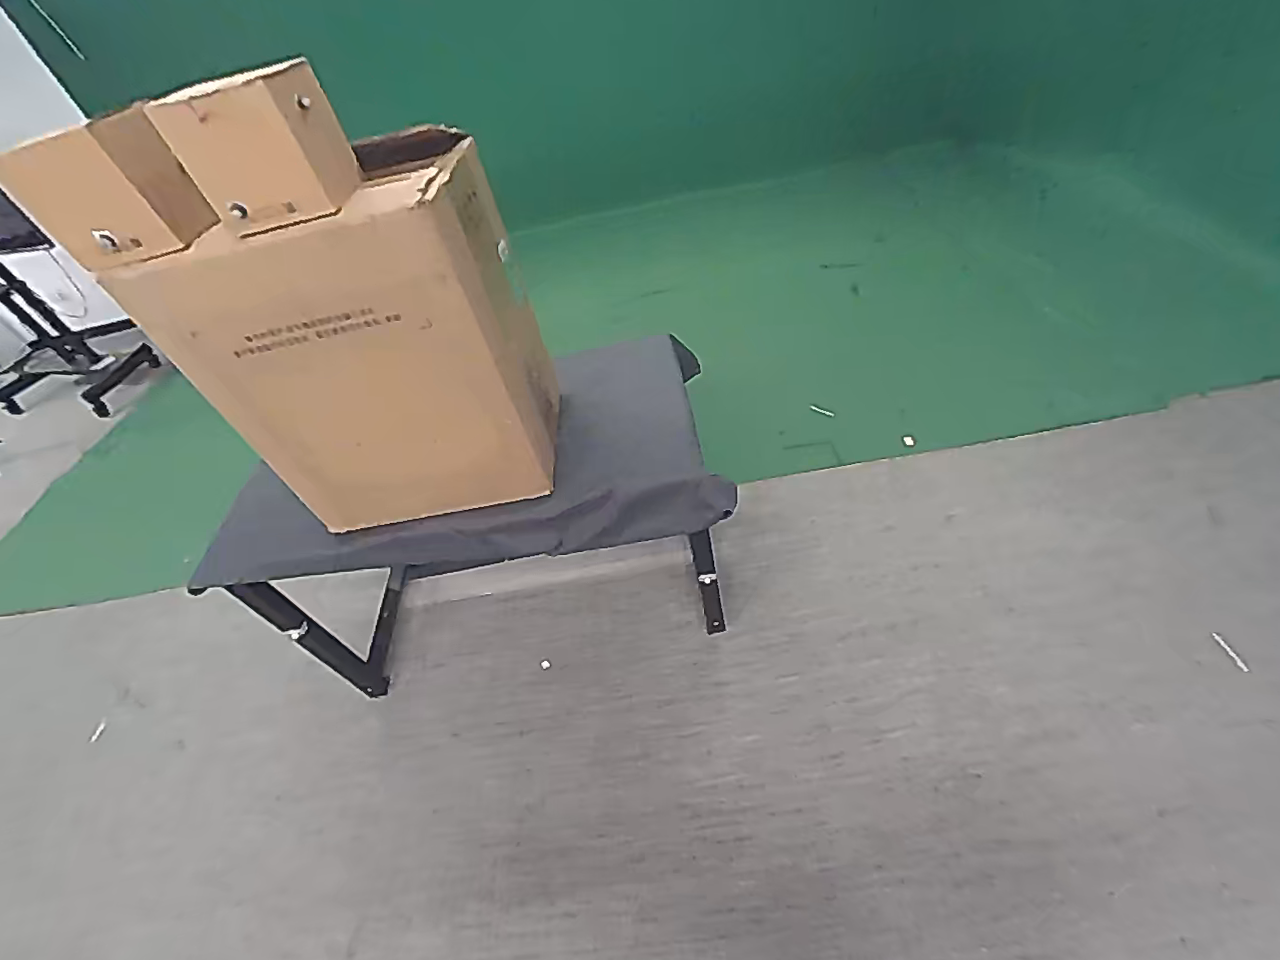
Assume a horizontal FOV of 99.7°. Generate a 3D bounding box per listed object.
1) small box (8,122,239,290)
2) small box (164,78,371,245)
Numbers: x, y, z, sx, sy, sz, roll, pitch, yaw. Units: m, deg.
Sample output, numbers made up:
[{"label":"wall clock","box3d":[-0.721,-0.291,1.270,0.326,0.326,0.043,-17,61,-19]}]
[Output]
[{"label":"small box","box3d":[-0.783,-0.428,0.851,0.168,0.176,0.179,-14,45,6]},{"label":"small box","box3d":[-0.542,-0.476,0.821,0.168,0.176,0.179,-12,44,4]}]
